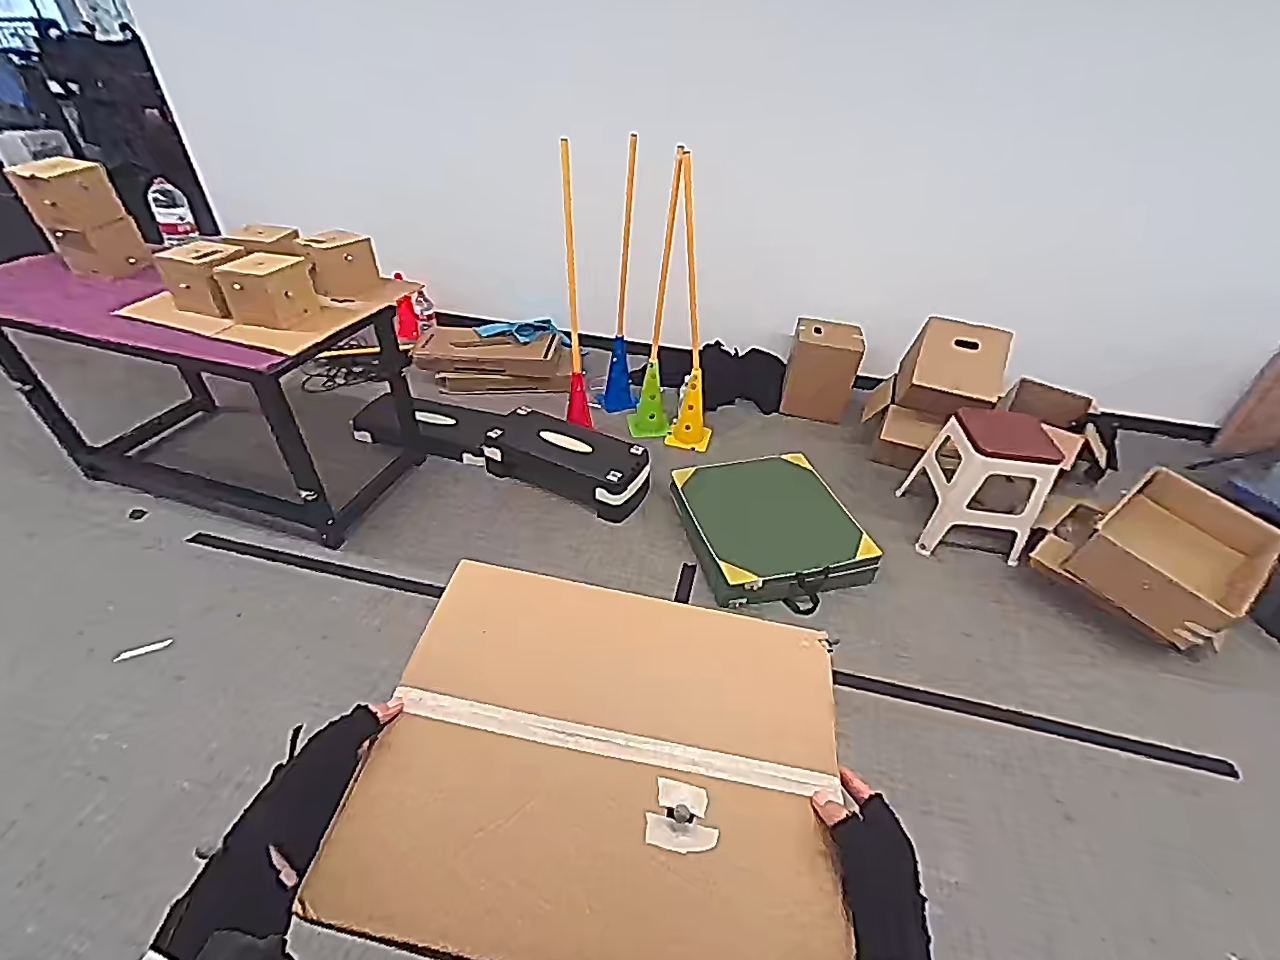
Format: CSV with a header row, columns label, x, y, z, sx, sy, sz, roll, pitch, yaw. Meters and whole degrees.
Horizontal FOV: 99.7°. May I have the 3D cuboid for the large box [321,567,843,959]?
label,x,y,z,sx,sy,sz,roll,pitch,yaw
large box,-0.039,0.341,0.604,0.408,0.320,0.320,11,47,3
